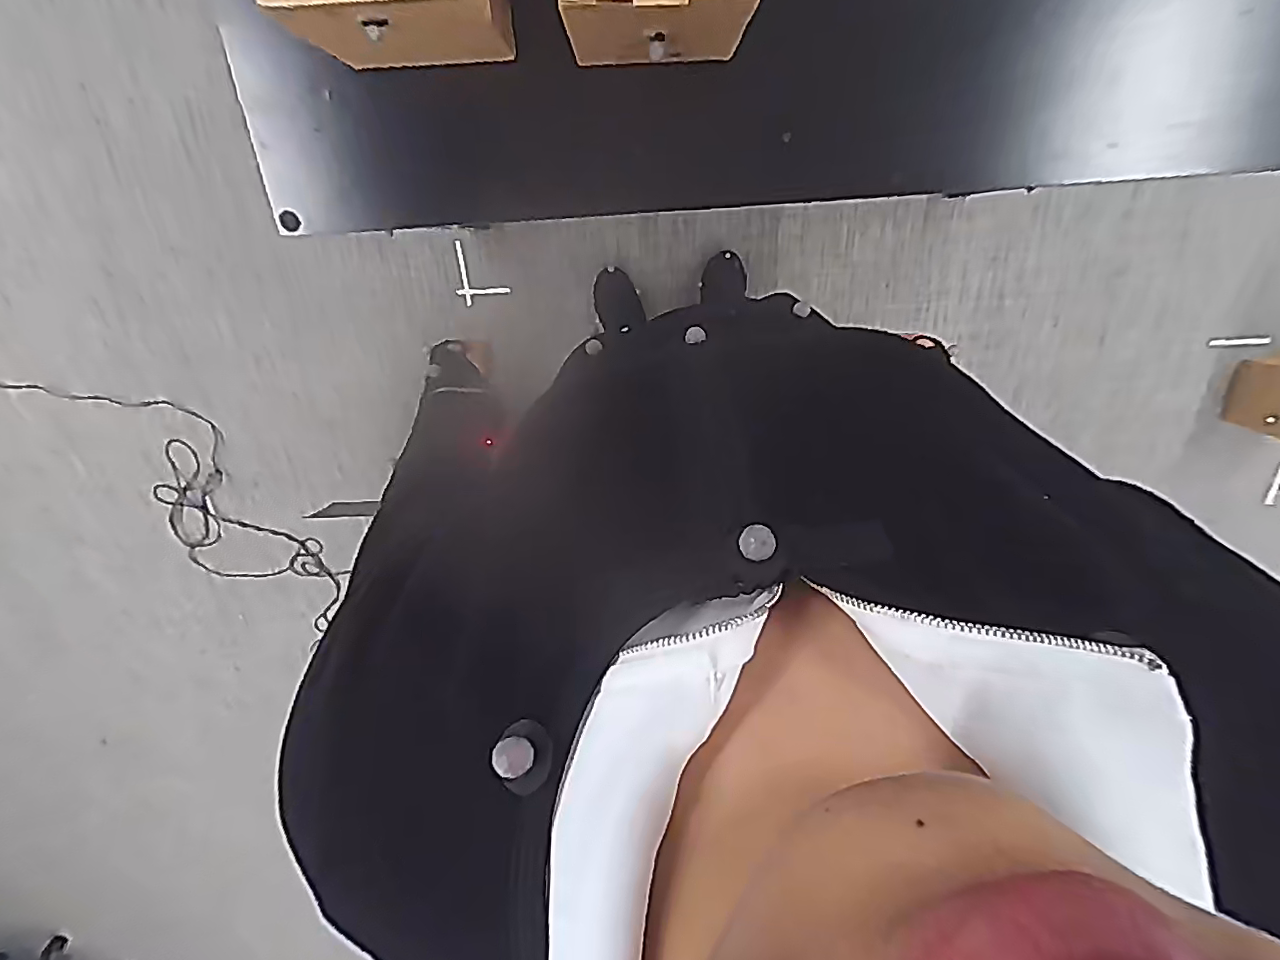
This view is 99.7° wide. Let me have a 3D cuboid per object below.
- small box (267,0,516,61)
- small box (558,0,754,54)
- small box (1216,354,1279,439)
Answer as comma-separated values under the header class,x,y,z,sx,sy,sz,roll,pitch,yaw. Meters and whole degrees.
class,x,y,z,sx,sy,sz,roll,pitch,yaw
small box,-0.220,-0.490,0.471,0.179,0.176,0.168,-3,114,0
small box,0.013,-0.496,0.470,0.168,0.176,0.179,-2,115,0
small box,1.662,-0.218,1.392,0.168,0.176,0.179,-4,114,2
